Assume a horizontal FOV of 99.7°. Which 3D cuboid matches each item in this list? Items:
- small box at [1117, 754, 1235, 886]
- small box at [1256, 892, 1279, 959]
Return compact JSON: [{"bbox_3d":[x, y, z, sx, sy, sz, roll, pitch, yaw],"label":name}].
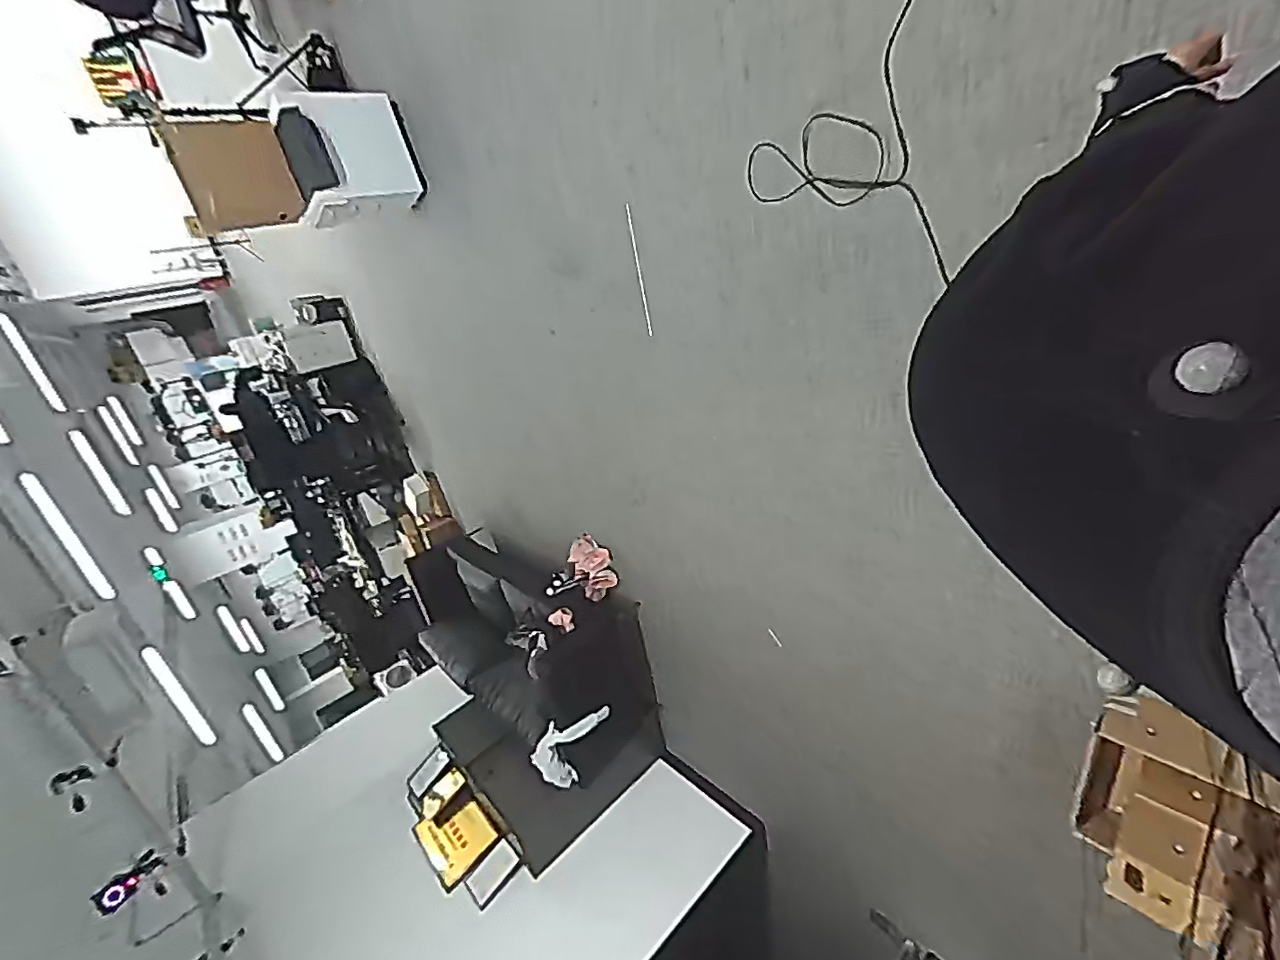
[{"bbox_3d":[1.295,0.808,1.307,0.179,0.176,0.168,14,121,45],"label":"small box"},{"bbox_3d":[1.340,0.938,1.042,0.168,0.176,0.179,20,126,45],"label":"small box"}]
